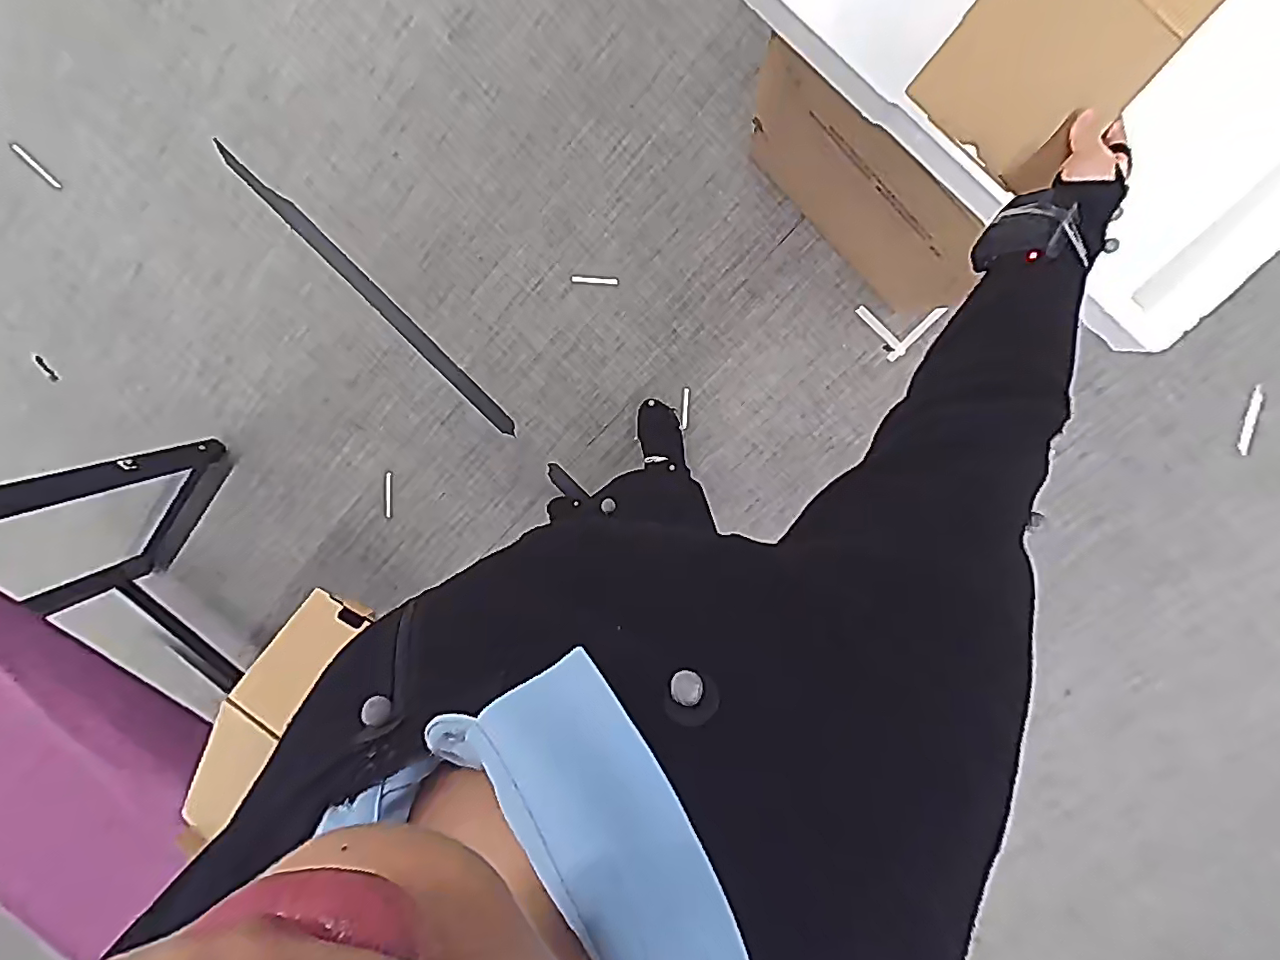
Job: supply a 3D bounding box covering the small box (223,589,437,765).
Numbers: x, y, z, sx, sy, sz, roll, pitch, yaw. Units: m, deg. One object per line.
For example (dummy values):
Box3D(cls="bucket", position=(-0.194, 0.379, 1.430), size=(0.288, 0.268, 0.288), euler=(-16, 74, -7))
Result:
Box3D(cls="small box", position=(-0.435, 0.294, 0.791), size=(0.168, 0.176, 0.179), euler=(23, 64, 18))
